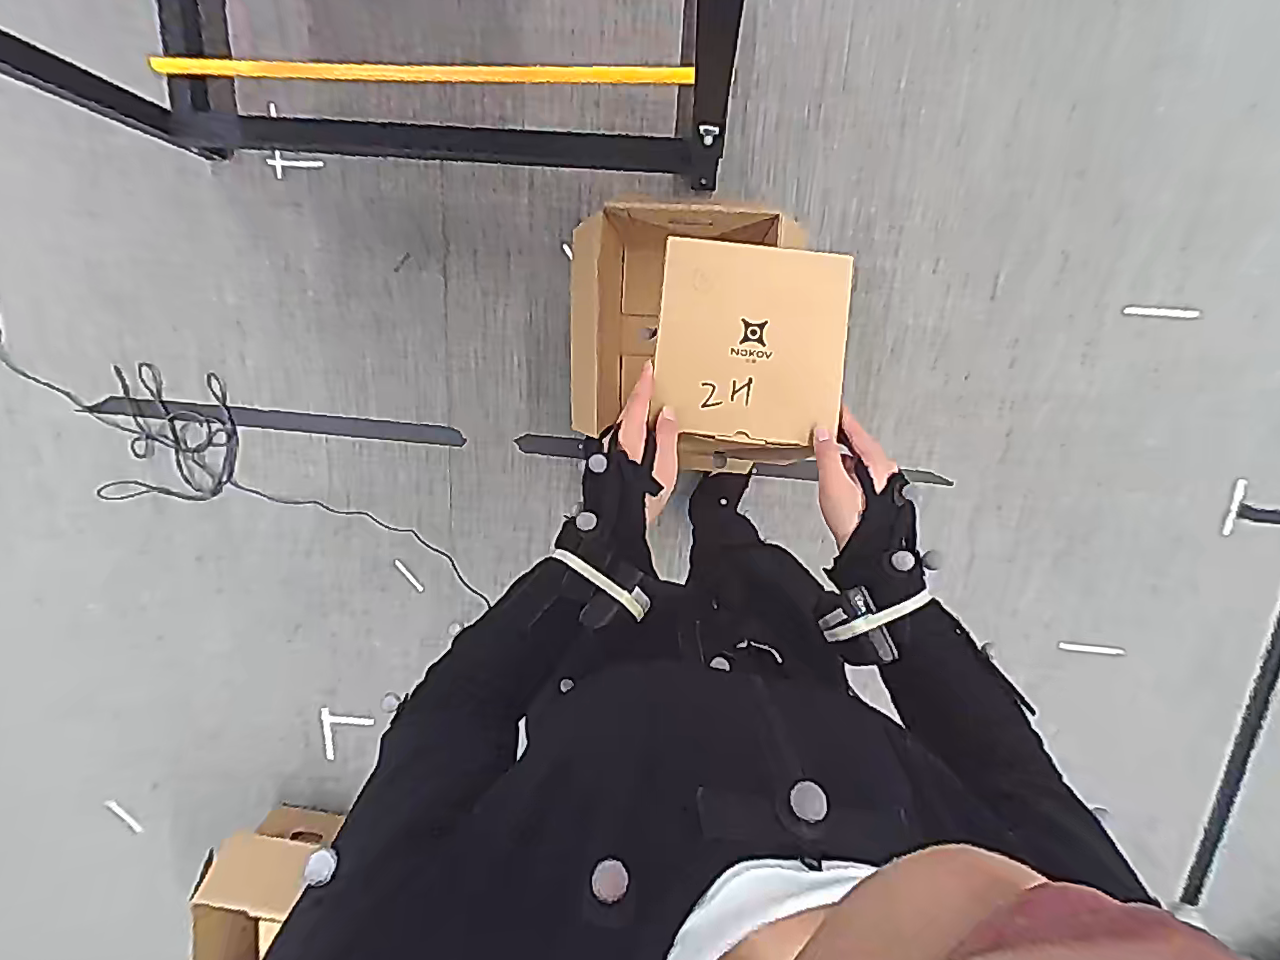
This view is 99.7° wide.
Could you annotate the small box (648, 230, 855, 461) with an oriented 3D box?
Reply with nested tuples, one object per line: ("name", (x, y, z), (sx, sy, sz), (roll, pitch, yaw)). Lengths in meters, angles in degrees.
("small box", (0.098, -0.120, 0.547), (0.168, 0.176, 0.179), (7, 88, 1))
